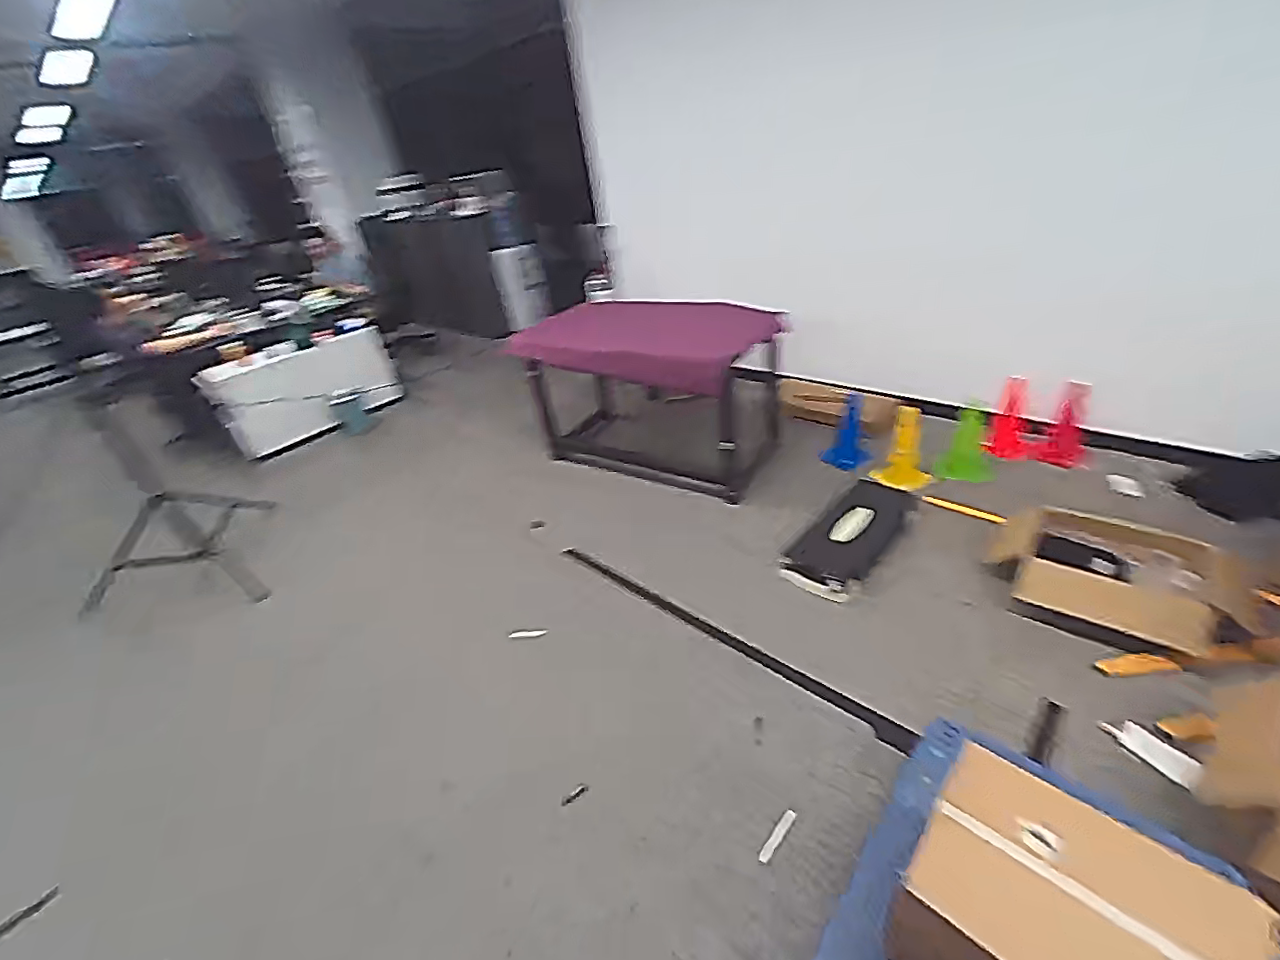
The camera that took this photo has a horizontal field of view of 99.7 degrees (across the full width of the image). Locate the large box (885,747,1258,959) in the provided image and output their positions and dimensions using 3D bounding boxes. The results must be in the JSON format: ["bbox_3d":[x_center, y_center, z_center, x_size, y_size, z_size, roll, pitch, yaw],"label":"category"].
[{"bbox_3d":[0.687,0.763,0.911,0.408,0.320,0.320,21,43,40],"label":"large box"}]
